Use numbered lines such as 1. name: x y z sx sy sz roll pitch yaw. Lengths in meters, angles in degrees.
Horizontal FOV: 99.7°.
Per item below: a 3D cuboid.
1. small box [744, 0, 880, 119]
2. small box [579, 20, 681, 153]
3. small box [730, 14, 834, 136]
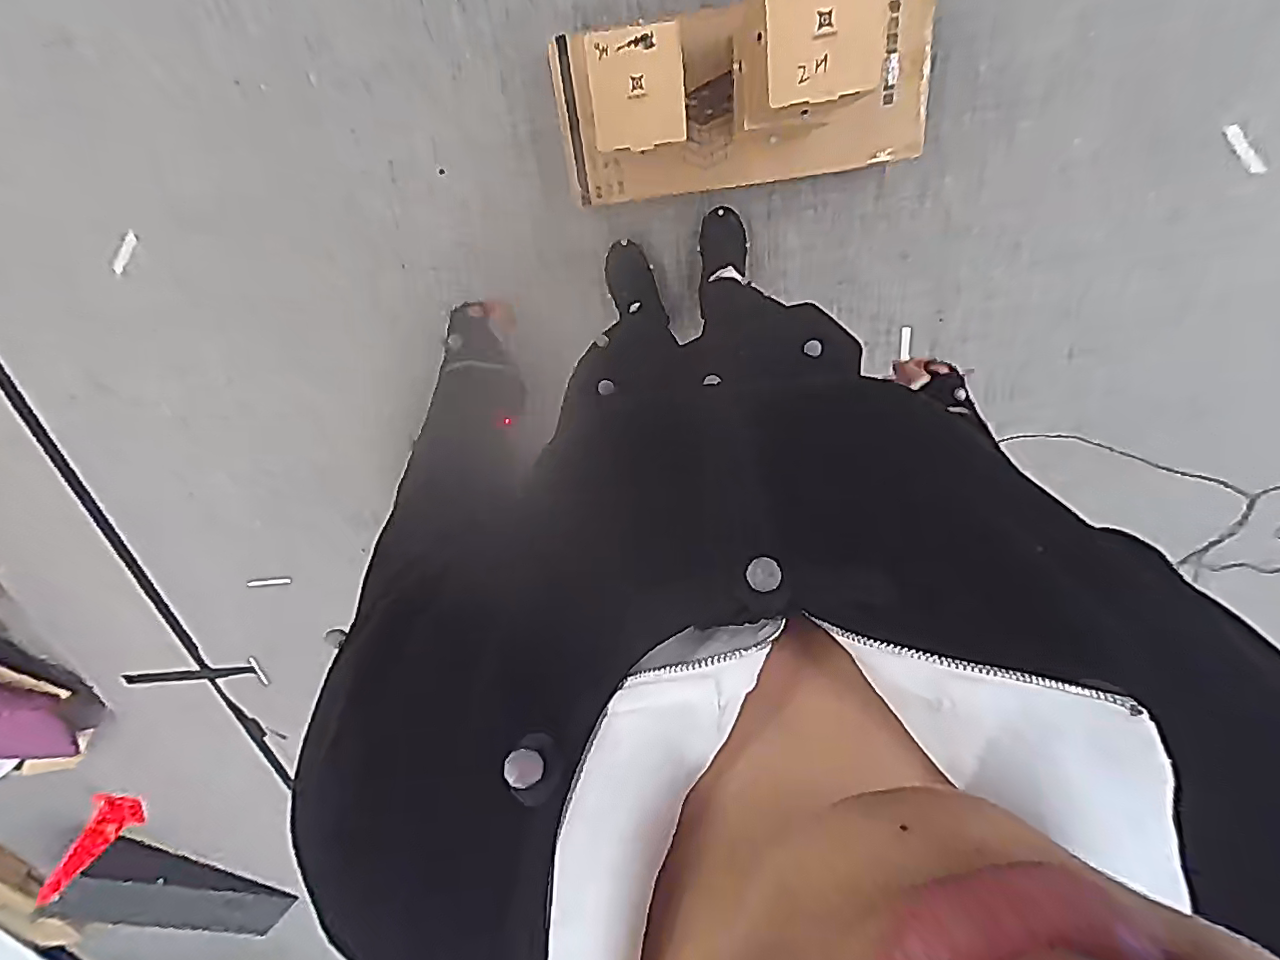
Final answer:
1. small box: 0.259 -0.687 0.841 0.168 0.176 0.179 -7 117 5
2. small box: -0.010 -0.721 1.012 0.168 0.176 0.179 -5 119 5
3. small box: 0.257 -0.750 0.995 0.168 0.176 0.179 -3 118 3
